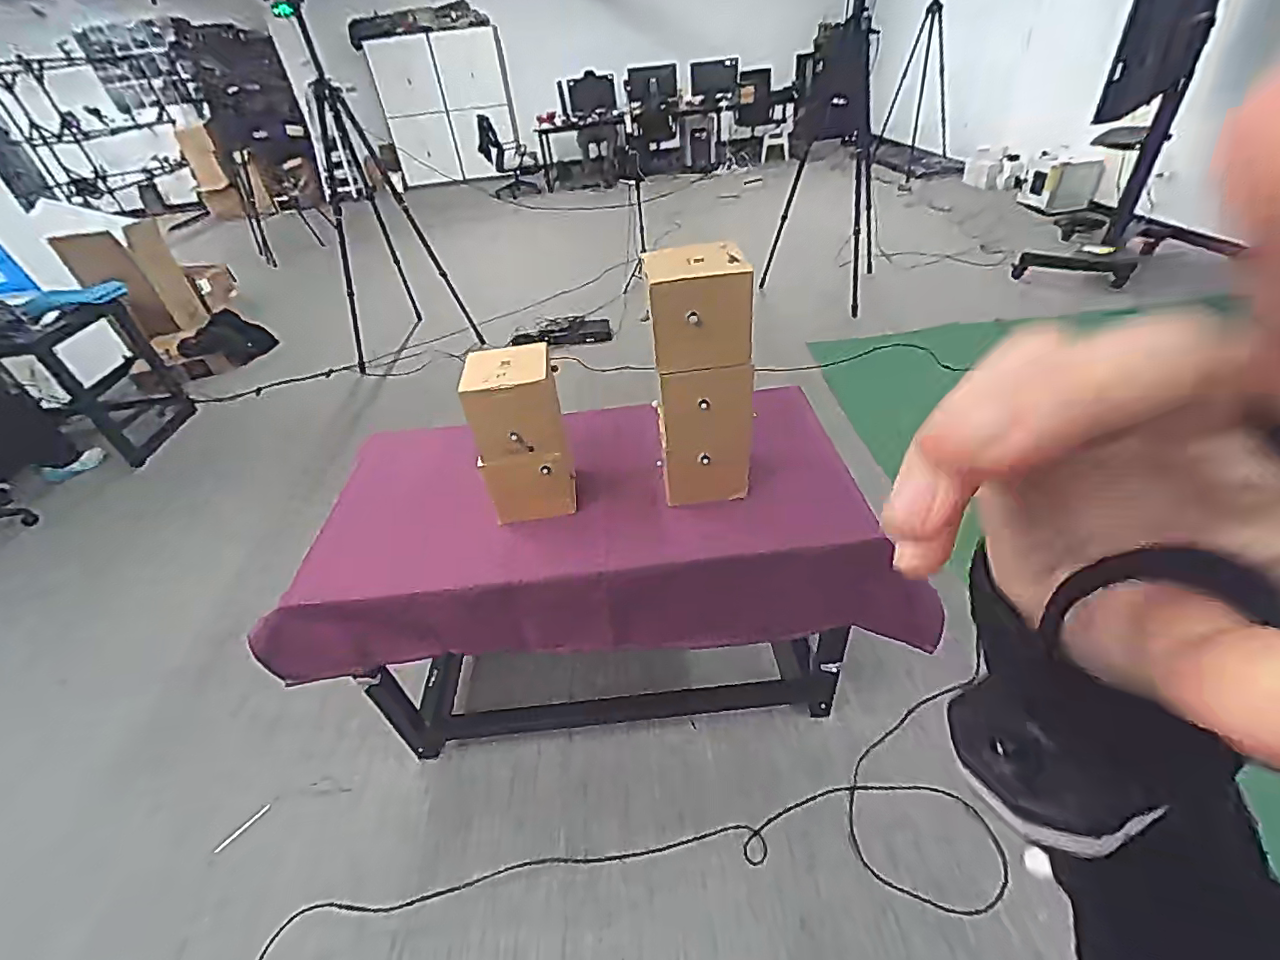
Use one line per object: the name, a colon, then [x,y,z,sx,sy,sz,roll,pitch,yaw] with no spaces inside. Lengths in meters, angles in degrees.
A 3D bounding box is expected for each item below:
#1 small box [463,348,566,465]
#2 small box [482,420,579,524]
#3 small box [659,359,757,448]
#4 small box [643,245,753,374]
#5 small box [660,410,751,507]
small box: [-0.251,-0.153,1.119,0.168,0.176,0.179,-9,38,-2]
small box: [-0.238,-0.018,1.214,0.179,0.176,0.168,-9,38,-2]
small box: [0.131,-0.182,1.091,0.179,0.176,0.168,-7,39,2]
small box: [0.106,-0.307,0.987,0.179,0.176,0.168,-7,40,2]
small box: [0.143,-0.056,1.195,0.179,0.176,0.168,-6,39,1]
